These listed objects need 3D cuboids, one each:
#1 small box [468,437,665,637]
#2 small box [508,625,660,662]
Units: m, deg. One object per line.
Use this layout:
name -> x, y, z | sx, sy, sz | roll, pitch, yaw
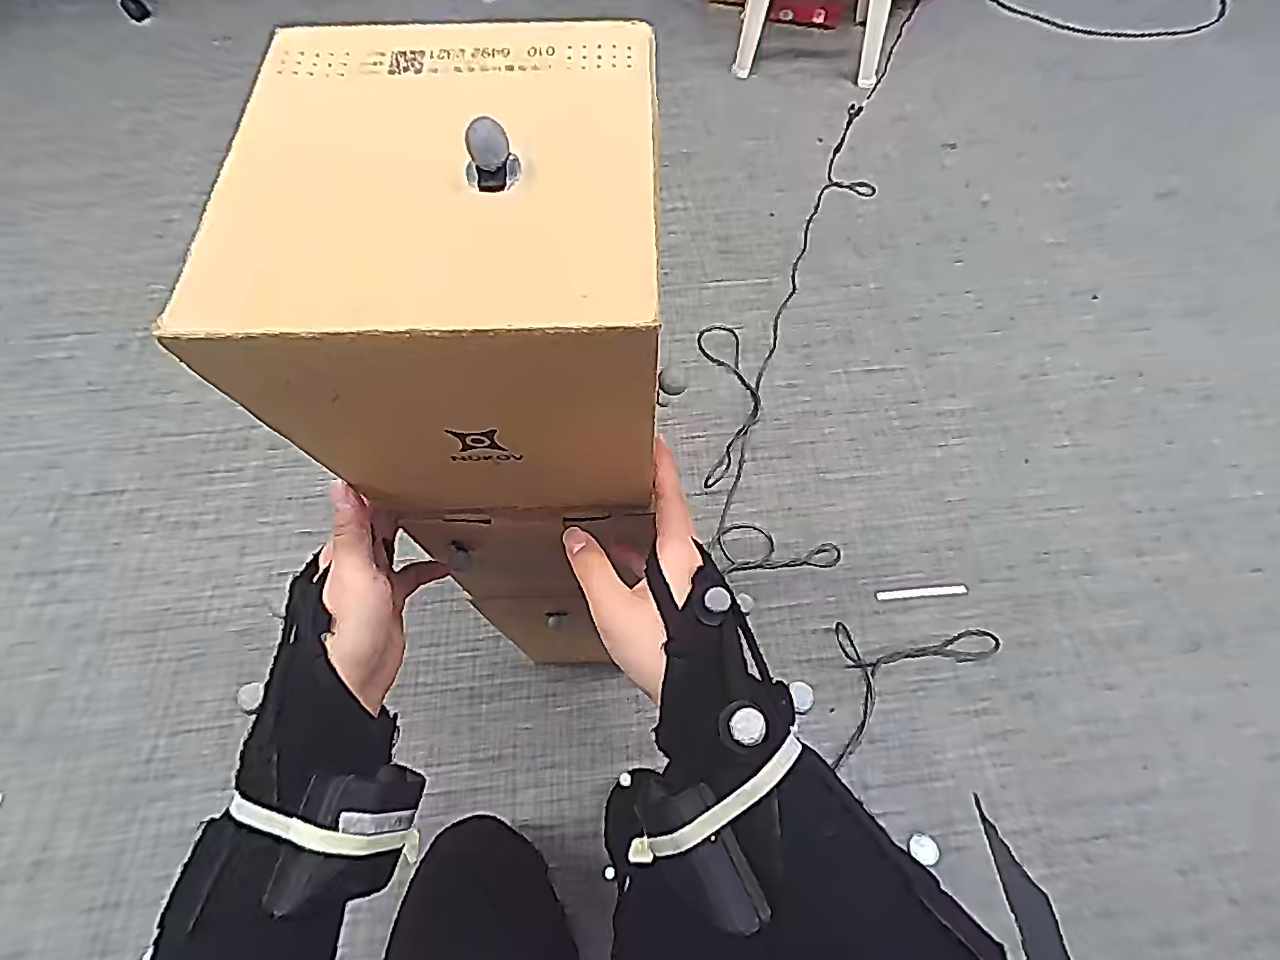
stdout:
small box -> -0.063, 0.068, 0.579 | 0.179, 0.176, 0.168 | 1, 62, 0
small box -> -0.064, 0.143, 0.725 | 0.179, 0.176, 0.168 | -1, 61, 1
